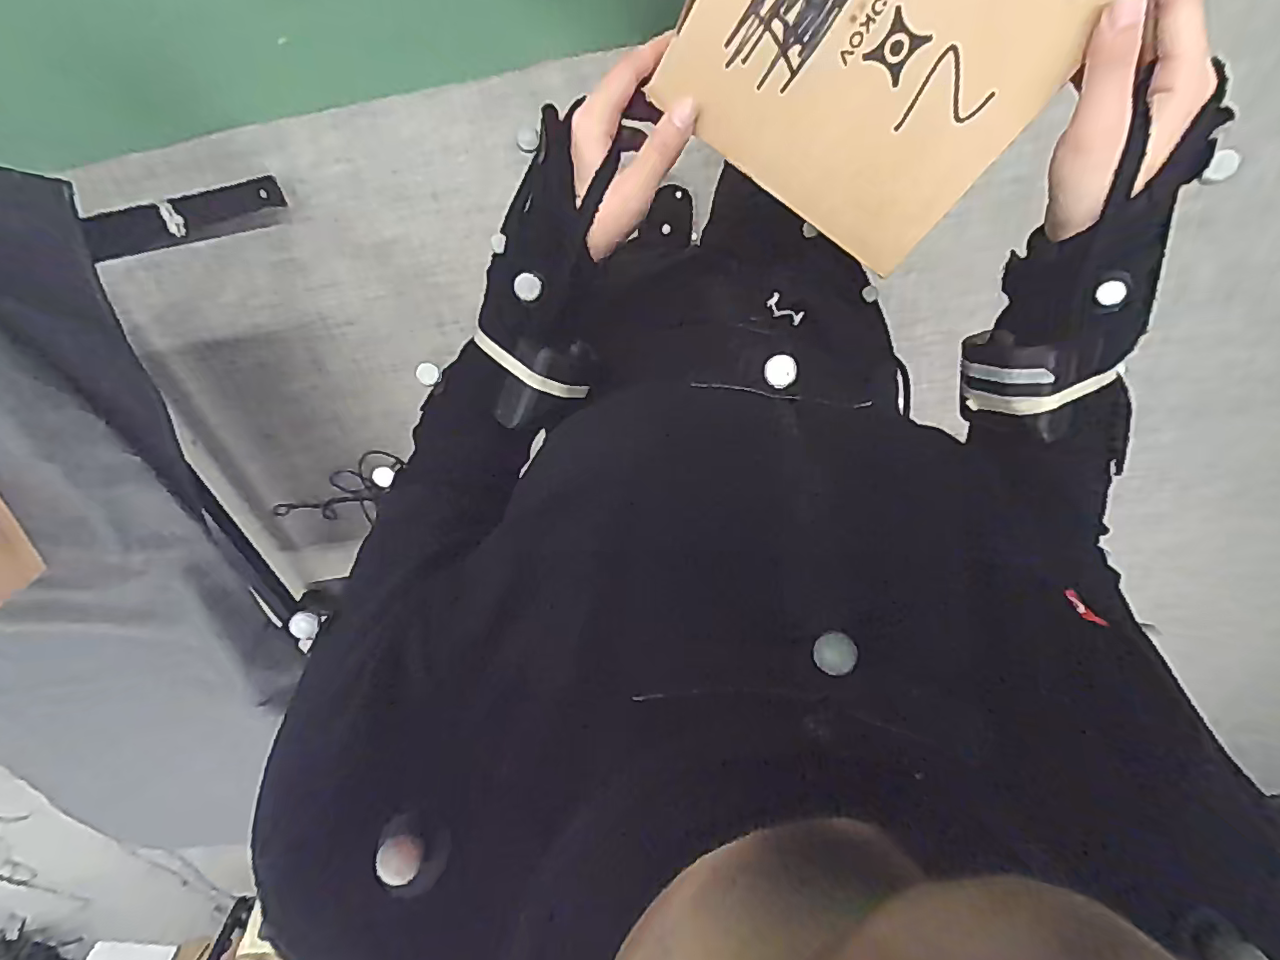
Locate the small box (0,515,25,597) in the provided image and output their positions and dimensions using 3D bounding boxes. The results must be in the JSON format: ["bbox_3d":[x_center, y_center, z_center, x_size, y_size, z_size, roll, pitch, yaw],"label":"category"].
[{"bbox_3d":[-0.853,0.088,0.588,0.179,0.176,0.168,8,124,-4],"label":"small box"}]
